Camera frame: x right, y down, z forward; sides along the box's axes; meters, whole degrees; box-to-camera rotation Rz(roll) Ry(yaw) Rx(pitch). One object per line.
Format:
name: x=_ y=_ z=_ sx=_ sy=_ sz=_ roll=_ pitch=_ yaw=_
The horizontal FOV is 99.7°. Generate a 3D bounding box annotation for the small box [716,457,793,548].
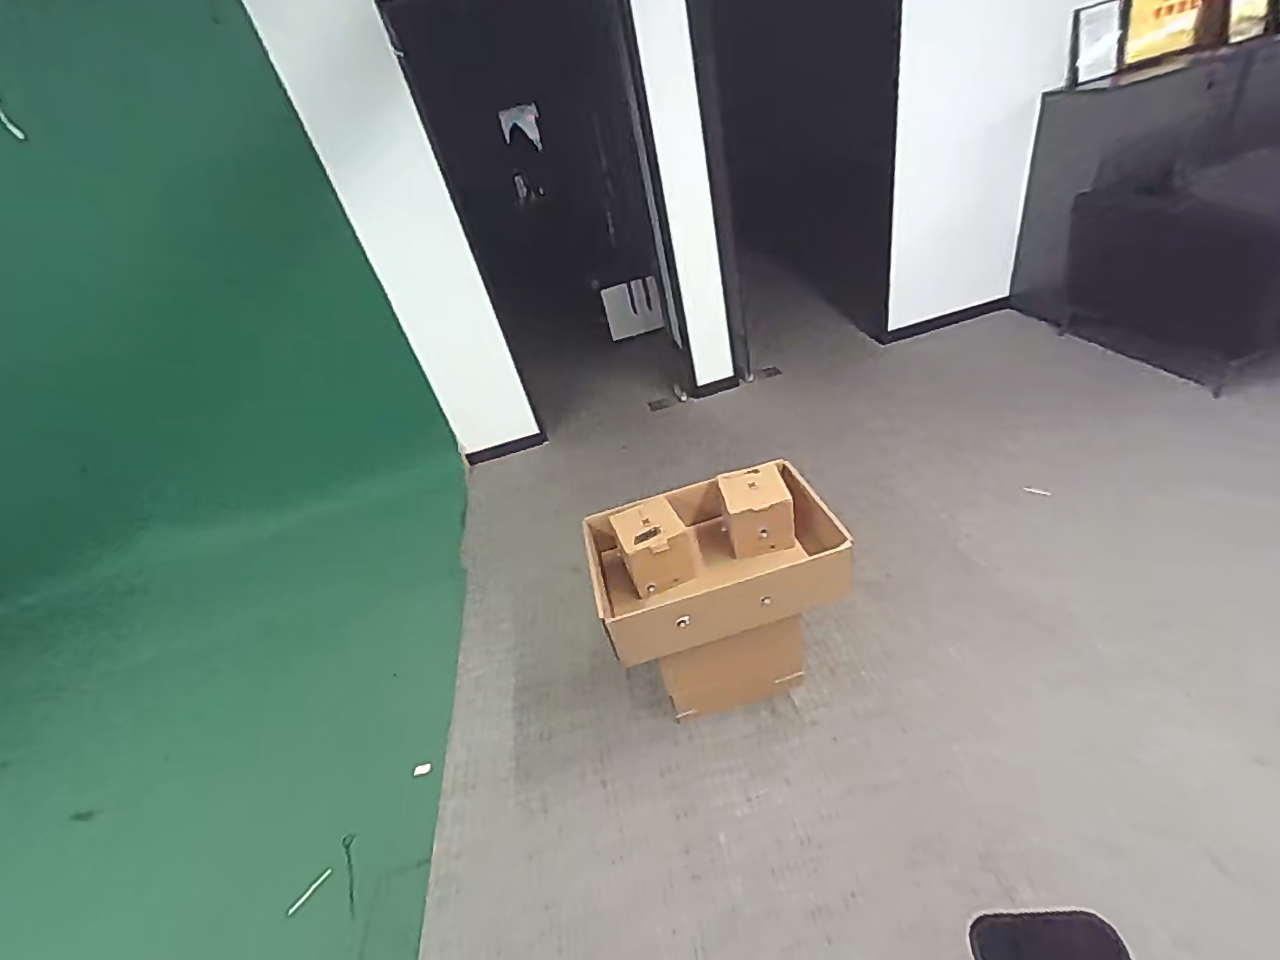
small box: x=0.314 y=0.068 z=1.481 sx=0.168 sy=0.176 sz=0.179 roll=-13 pitch=37 yaw=4
